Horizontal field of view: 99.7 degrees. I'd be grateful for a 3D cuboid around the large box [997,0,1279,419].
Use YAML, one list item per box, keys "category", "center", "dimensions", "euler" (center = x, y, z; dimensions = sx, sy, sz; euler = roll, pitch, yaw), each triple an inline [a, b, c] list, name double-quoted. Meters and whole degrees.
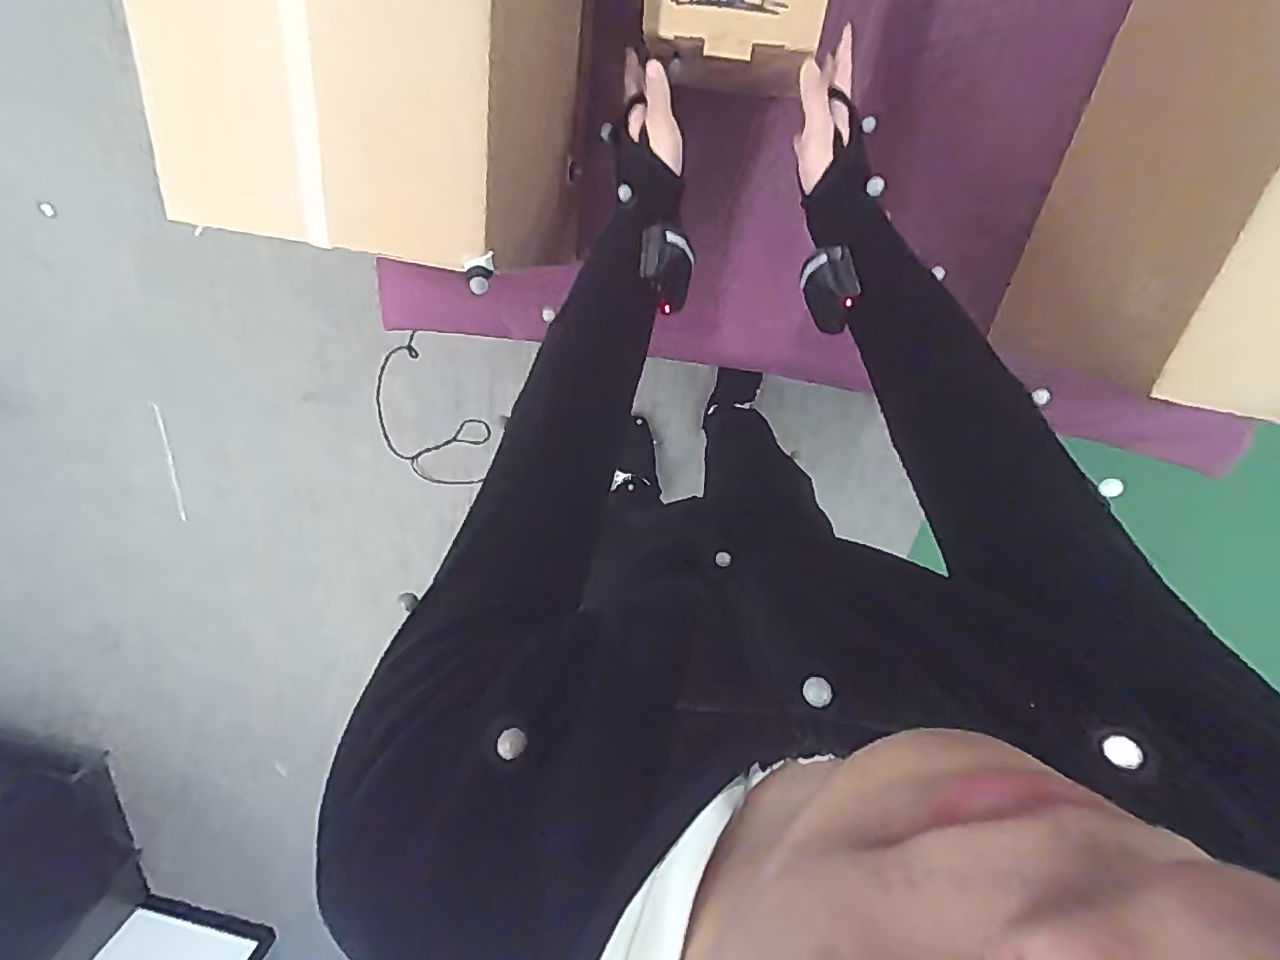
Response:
- category: "large box"
  center: [0.614, -0.276, 0.479]
  dimensions: [0.320, 0.320, 0.408]
  euler: [12, 115, 5]
